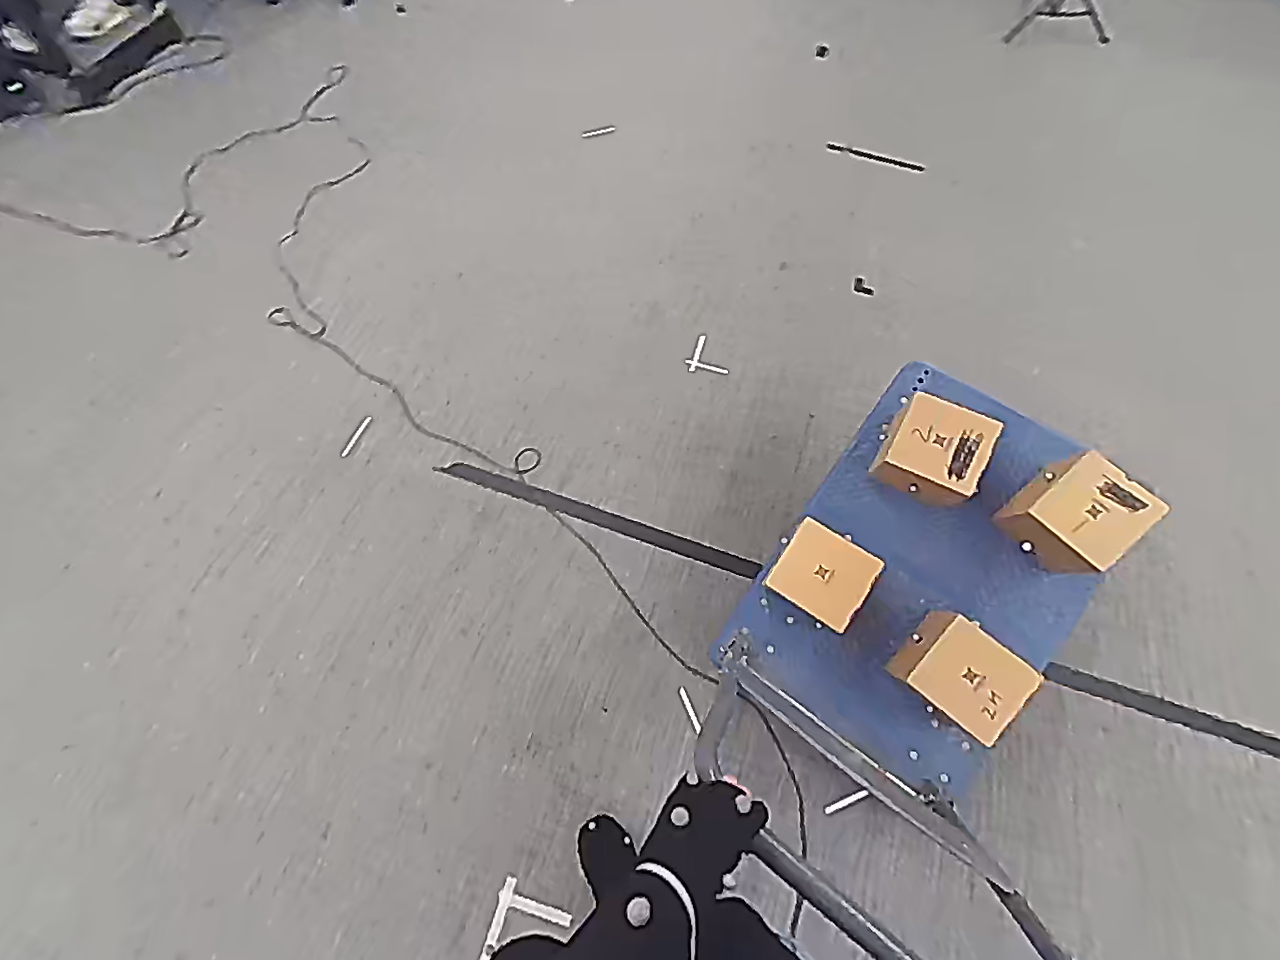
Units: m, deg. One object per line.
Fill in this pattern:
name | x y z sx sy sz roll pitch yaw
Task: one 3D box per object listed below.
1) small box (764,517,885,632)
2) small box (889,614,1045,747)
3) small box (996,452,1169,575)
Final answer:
small box | 0.380 0.203 1.151 0.179 0.176 0.168 32 86 13
small box | 0.628 0.384 1.067 0.179 0.176 0.168 40 88 15
small box | 0.870 0.074 1.087 0.179 0.176 0.168 -44 74 0
